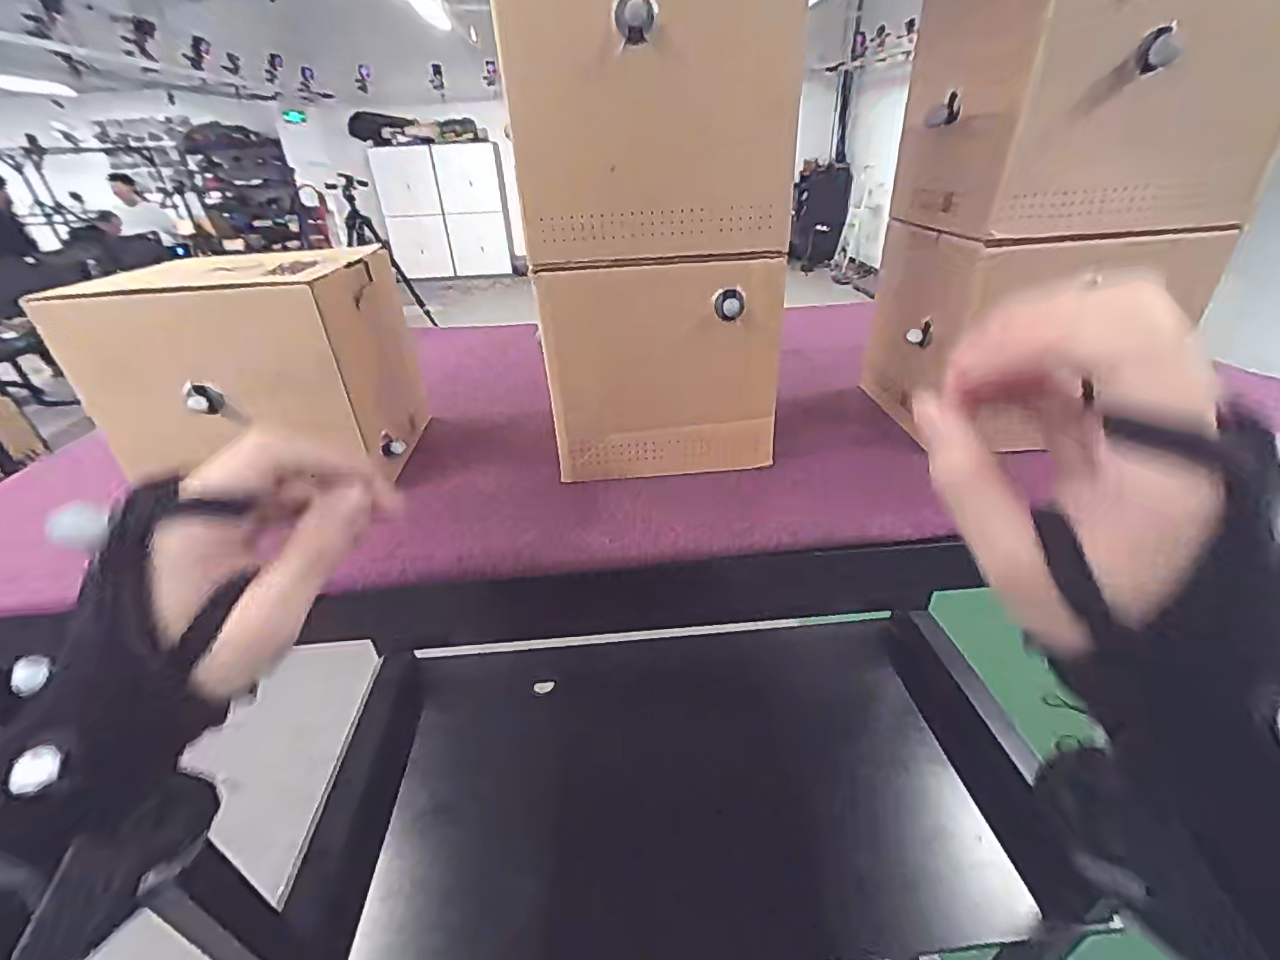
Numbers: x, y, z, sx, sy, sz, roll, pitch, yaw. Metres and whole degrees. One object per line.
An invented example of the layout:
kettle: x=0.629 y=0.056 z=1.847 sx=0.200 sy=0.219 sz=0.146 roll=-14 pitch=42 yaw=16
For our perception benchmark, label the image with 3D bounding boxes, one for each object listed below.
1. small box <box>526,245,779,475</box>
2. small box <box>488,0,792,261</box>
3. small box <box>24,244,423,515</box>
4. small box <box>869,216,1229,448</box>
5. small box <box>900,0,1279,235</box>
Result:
small box: x=0.009 y=-0.114 z=0.468 sx=0.179 sy=0.176 sz=0.168 roll=-5 pitch=31 yaw=-3
small box: x=0.001 y=-0.256 z=0.385 sx=0.179 sy=0.176 sz=0.168 roll=-4 pitch=31 yaw=-2
small box: x=-0.299 y=-0.088 z=0.447 sx=0.179 sy=0.176 sz=0.168 roll=-6 pitch=31 yaw=-4
small box: x=0.315 y=-0.135 z=0.471 sx=0.179 sy=0.176 sz=0.168 roll=-2 pitch=31 yaw=2
small box: x=0.307 y=-0.275 z=0.387 sx=0.179 sy=0.176 sz=0.168 roll=-4 pitch=32 yaw=1
